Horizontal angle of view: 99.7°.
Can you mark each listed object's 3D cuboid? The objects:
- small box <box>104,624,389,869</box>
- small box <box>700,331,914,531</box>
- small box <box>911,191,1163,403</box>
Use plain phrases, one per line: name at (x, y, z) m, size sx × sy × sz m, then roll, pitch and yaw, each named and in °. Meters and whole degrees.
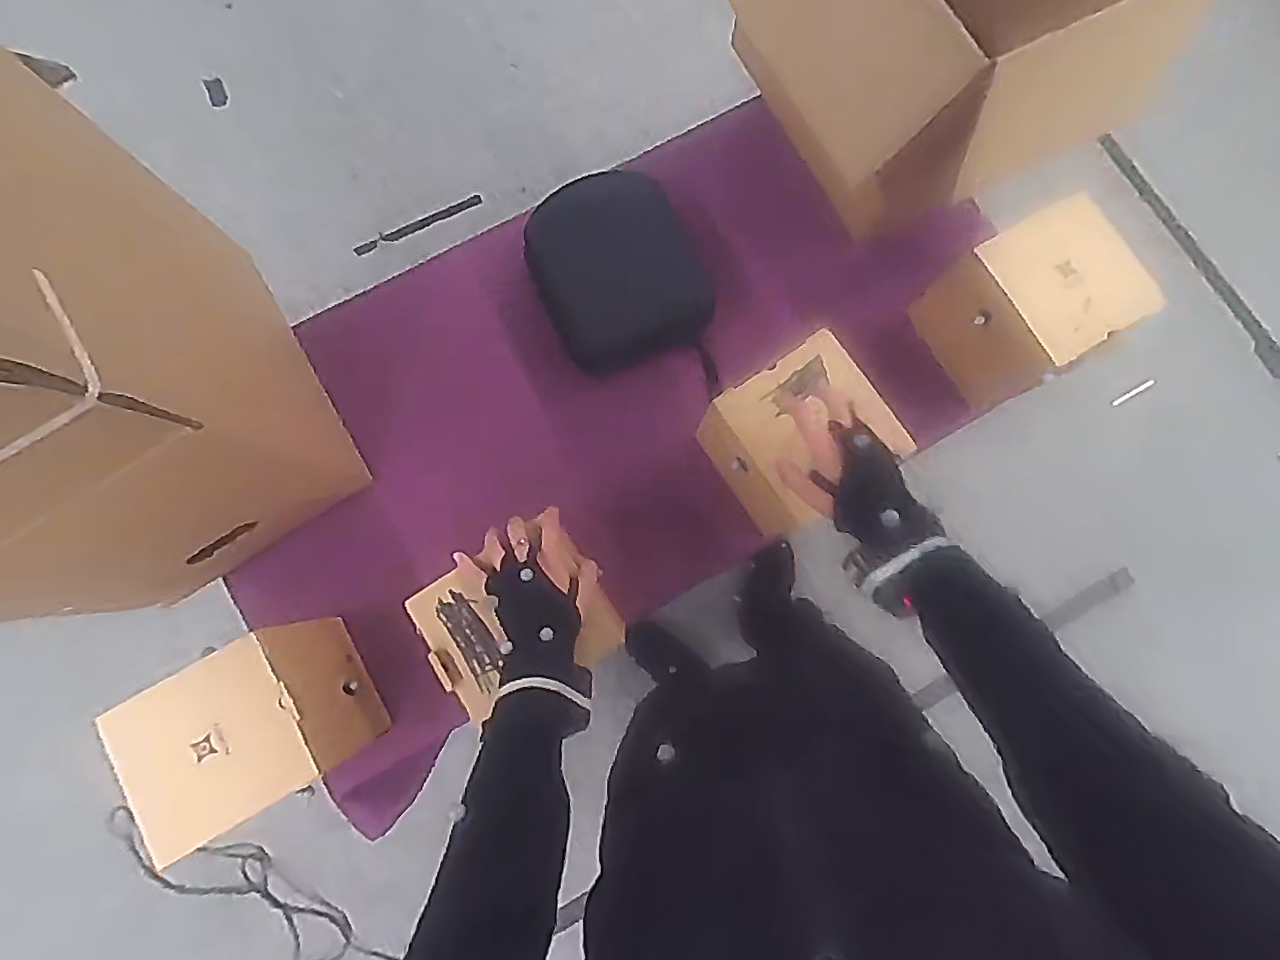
small box at (-0.431, 0.284, 0.623) m, size 0.179 × 0.176 × 0.168 m, roll -30°, pitch 83°, yaw -7°
small box at (0.193, -0.049, 0.688) m, size 0.168 × 0.176 × 0.179 m, roll -34°, pitch 84°, yaw -5°
small box at (0.504, -0.229, 0.719) m, size 0.168 × 0.176 × 0.179 m, roll -29°, pitch 82°, yaw -4°
